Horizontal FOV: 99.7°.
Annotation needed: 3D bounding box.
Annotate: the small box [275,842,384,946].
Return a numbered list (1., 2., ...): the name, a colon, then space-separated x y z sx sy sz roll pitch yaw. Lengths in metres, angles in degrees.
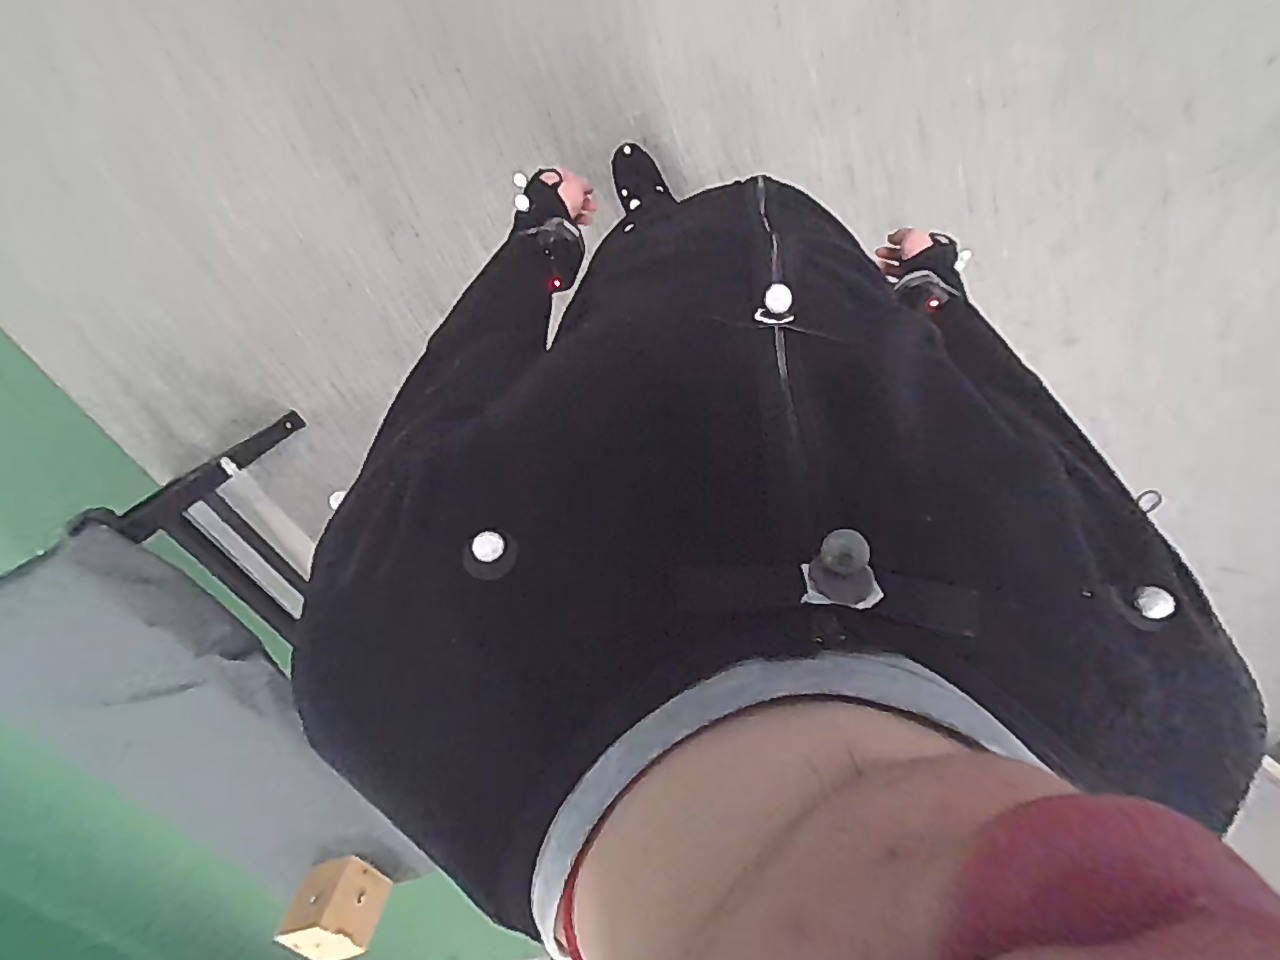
1. small box: -0.839 1.134 1.488 0.179 0.176 0.168 -26 115 16
